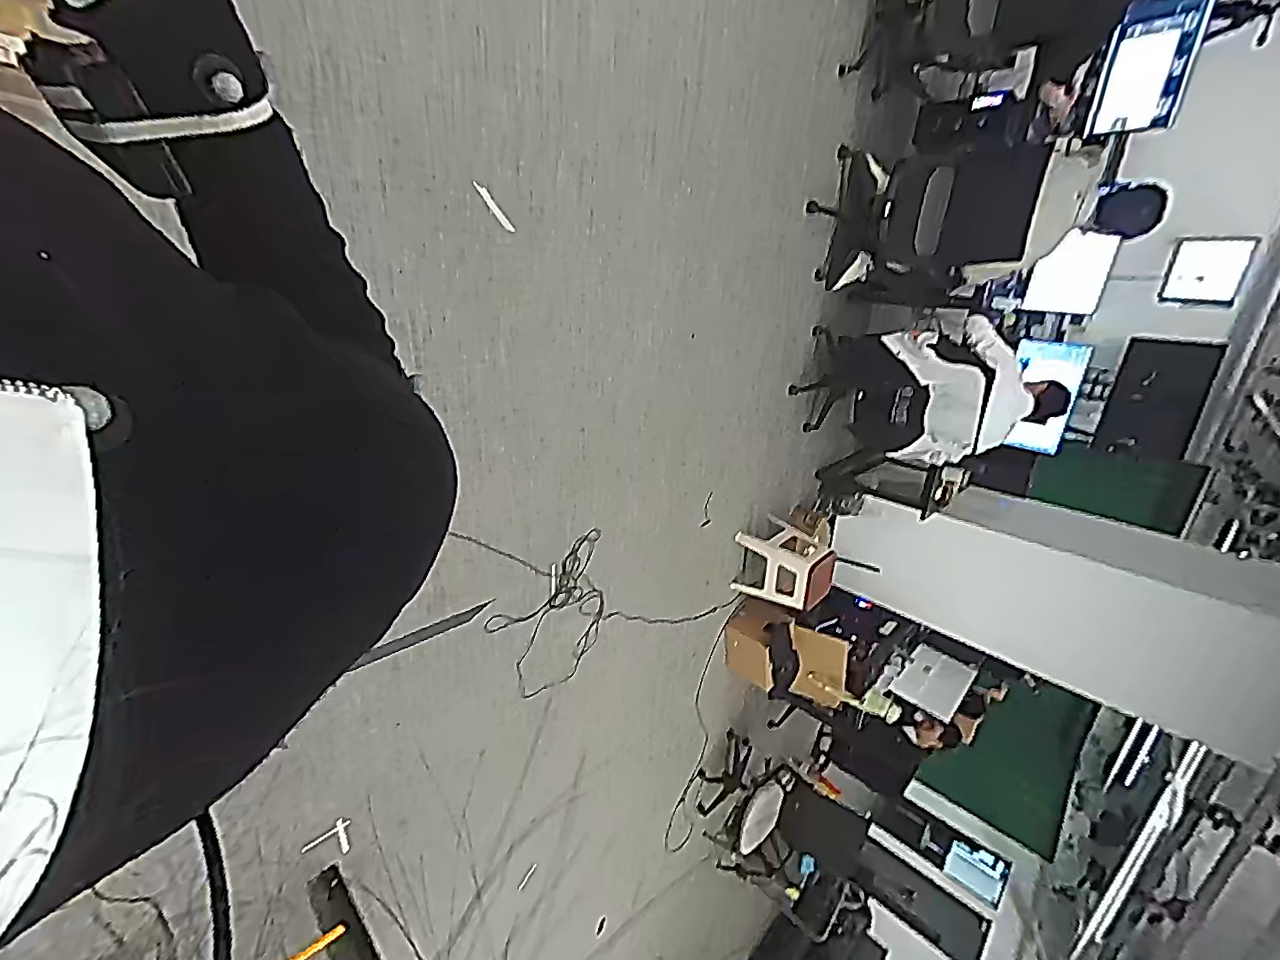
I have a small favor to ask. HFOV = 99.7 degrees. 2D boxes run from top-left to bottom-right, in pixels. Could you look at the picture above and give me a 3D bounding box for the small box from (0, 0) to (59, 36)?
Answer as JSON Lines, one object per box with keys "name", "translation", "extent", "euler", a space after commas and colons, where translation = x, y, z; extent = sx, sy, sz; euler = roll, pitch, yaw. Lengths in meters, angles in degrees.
{"name": "small box", "translation": [-0.685, -0.544, 0.495], "extent": [0.179, 0.176, 0.168], "euler": [-15, 118, -46]}
